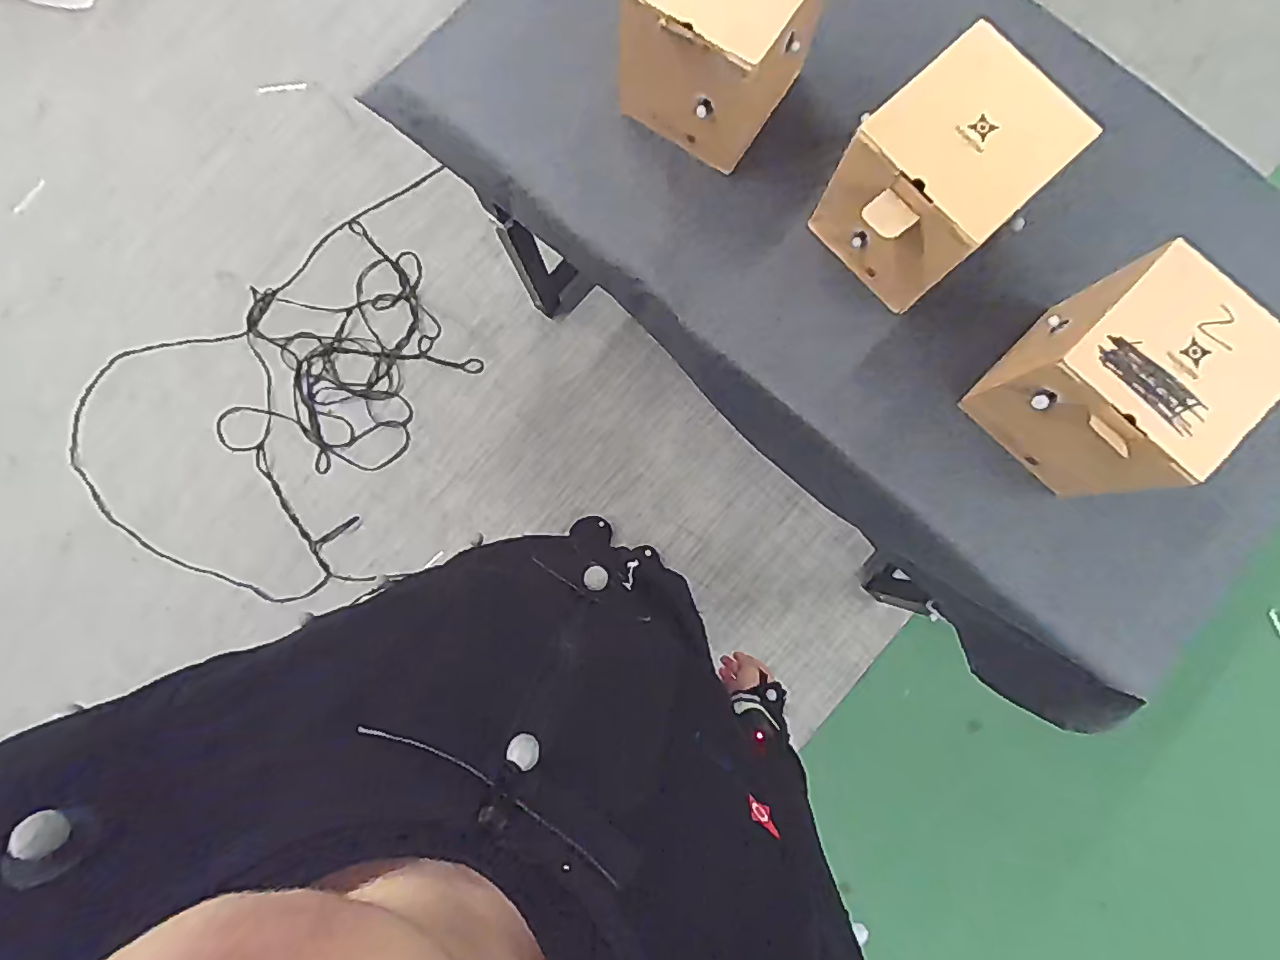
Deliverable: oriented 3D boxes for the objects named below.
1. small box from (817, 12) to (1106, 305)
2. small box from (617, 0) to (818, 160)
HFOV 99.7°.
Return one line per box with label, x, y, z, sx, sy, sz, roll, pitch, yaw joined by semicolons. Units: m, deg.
small box;0.328;-0.332;0.593;0.179;0.176;0.168;-42;87;-3
small box;0.090;-0.513;0.609;0.168;0.176;0.179;34;85;2
